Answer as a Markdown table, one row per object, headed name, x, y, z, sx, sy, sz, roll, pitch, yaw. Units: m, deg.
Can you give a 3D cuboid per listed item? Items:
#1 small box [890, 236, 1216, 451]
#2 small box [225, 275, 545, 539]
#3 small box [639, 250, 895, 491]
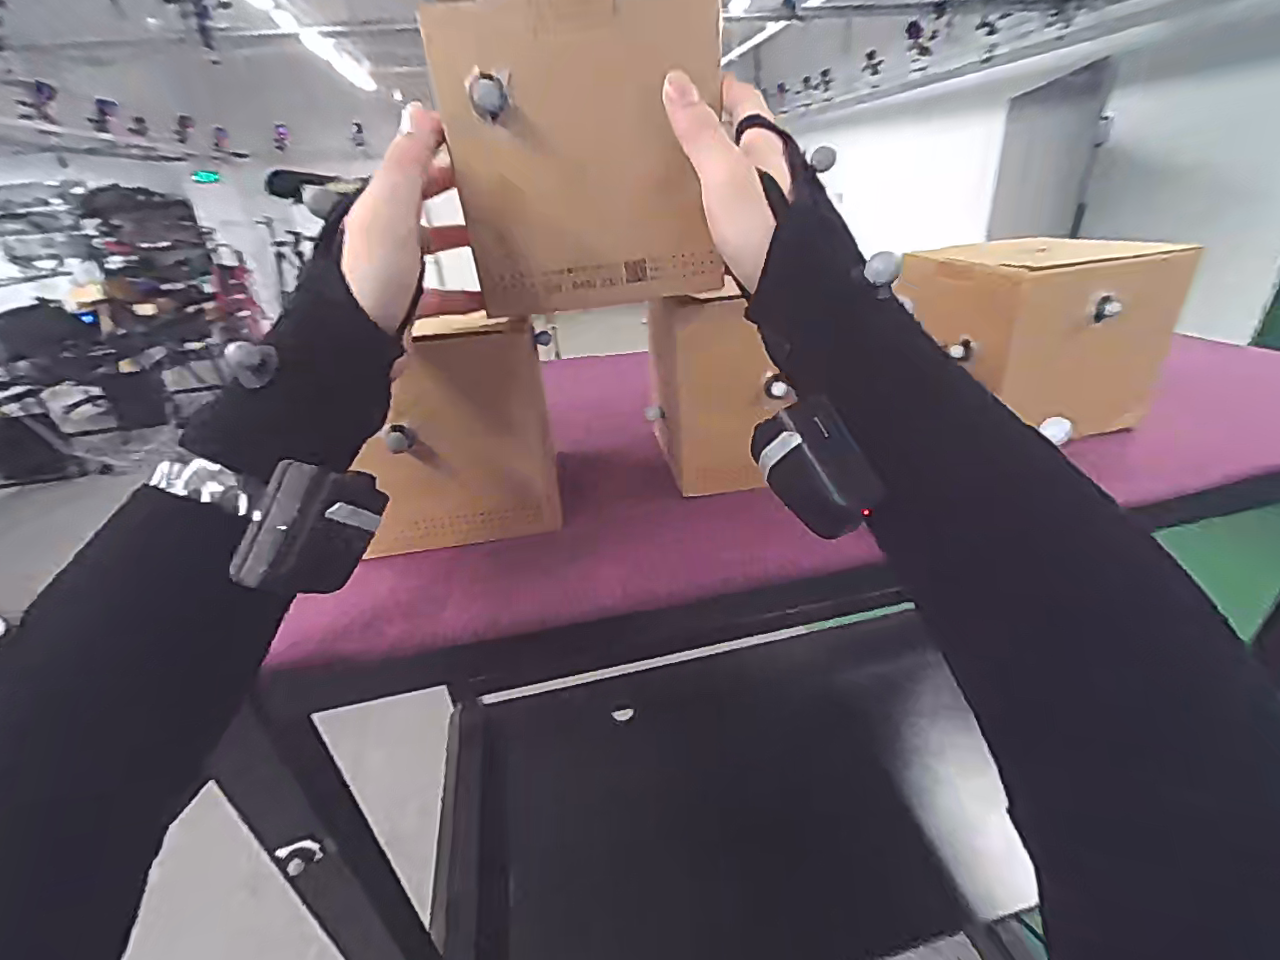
| name | x | y | z | sx | sy | sz | roll | pitch | yaw |
| --- | --- | --- | --- | --- | --- | --- | --- | --- | --- |
| small box | 0.368 | -0.136 | 0.525 | 0.179 | 0.176 | 0.168 | -7 | 29 | -8 |
| small box | -0.178 | -0.065 | 0.447 | 0.179 | 0.176 | 0.168 | -6 | 29 | -6 |
| small box | 0.096 | -0.105 | 0.492 | 0.179 | 0.176 | 0.168 | -7 | 28 | -4 |
